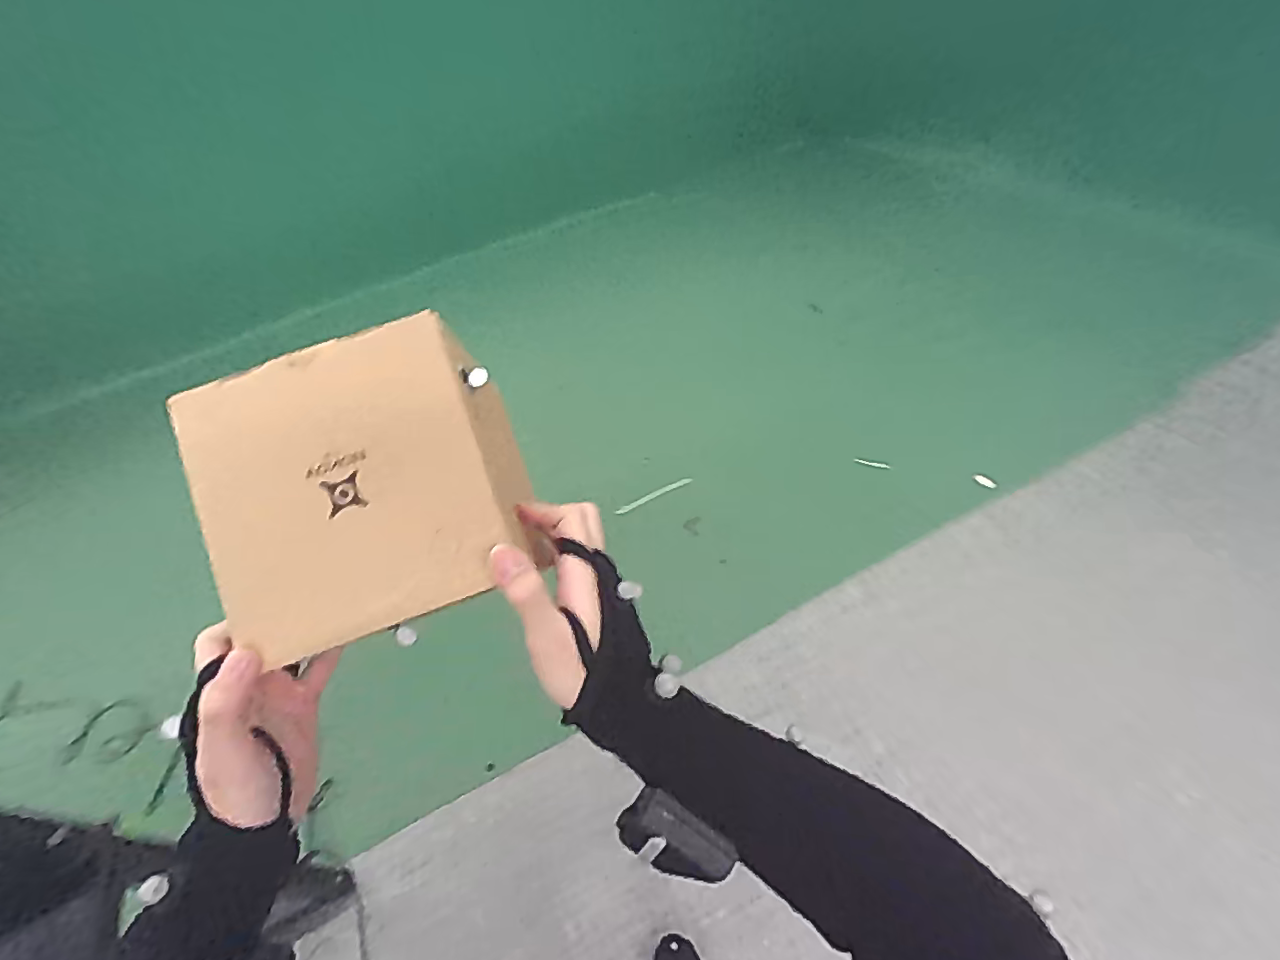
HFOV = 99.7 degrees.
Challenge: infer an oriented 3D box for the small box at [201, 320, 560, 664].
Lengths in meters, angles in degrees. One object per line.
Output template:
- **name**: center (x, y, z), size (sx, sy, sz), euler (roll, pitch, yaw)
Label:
- **small box**: center (-0.171, 0.013, 0.412), size (0.168, 0.176, 0.179), euler (-20, 82, -3)
